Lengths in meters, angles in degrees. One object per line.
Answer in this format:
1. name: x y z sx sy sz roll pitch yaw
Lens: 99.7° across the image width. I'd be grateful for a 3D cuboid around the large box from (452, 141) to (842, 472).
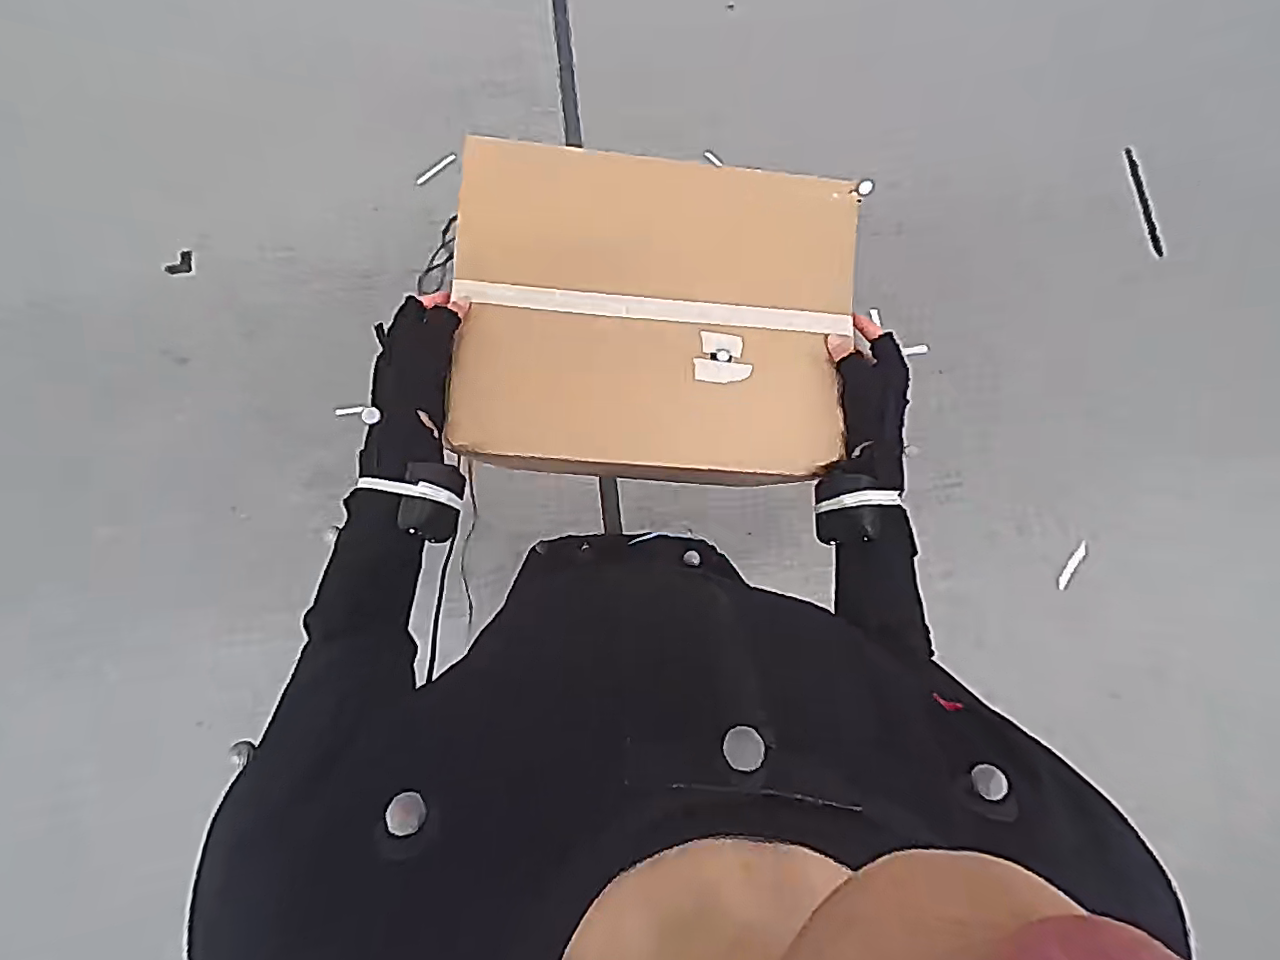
1. large box: -0.001 -0.179 0.708 0.408 0.320 0.320 4 89 -6
